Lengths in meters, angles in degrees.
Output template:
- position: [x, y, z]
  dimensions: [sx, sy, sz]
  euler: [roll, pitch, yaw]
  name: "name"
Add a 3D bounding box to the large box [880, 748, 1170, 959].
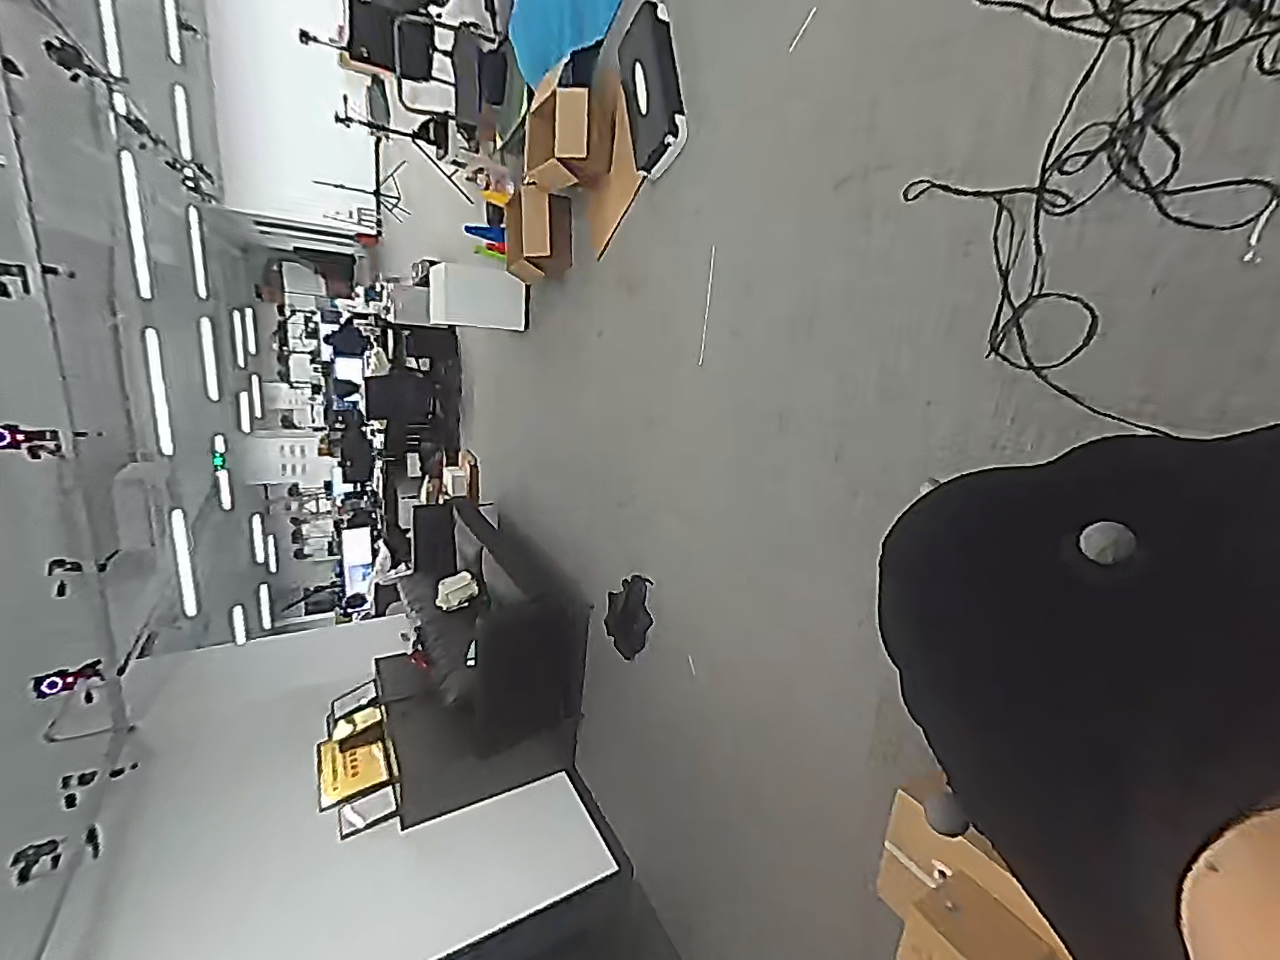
- position: [0.825, 0.890, 1.199]
  dimensions: [0.408, 0.320, 0.320]
  euler: [26, 115, 57]
  name: "large box"
